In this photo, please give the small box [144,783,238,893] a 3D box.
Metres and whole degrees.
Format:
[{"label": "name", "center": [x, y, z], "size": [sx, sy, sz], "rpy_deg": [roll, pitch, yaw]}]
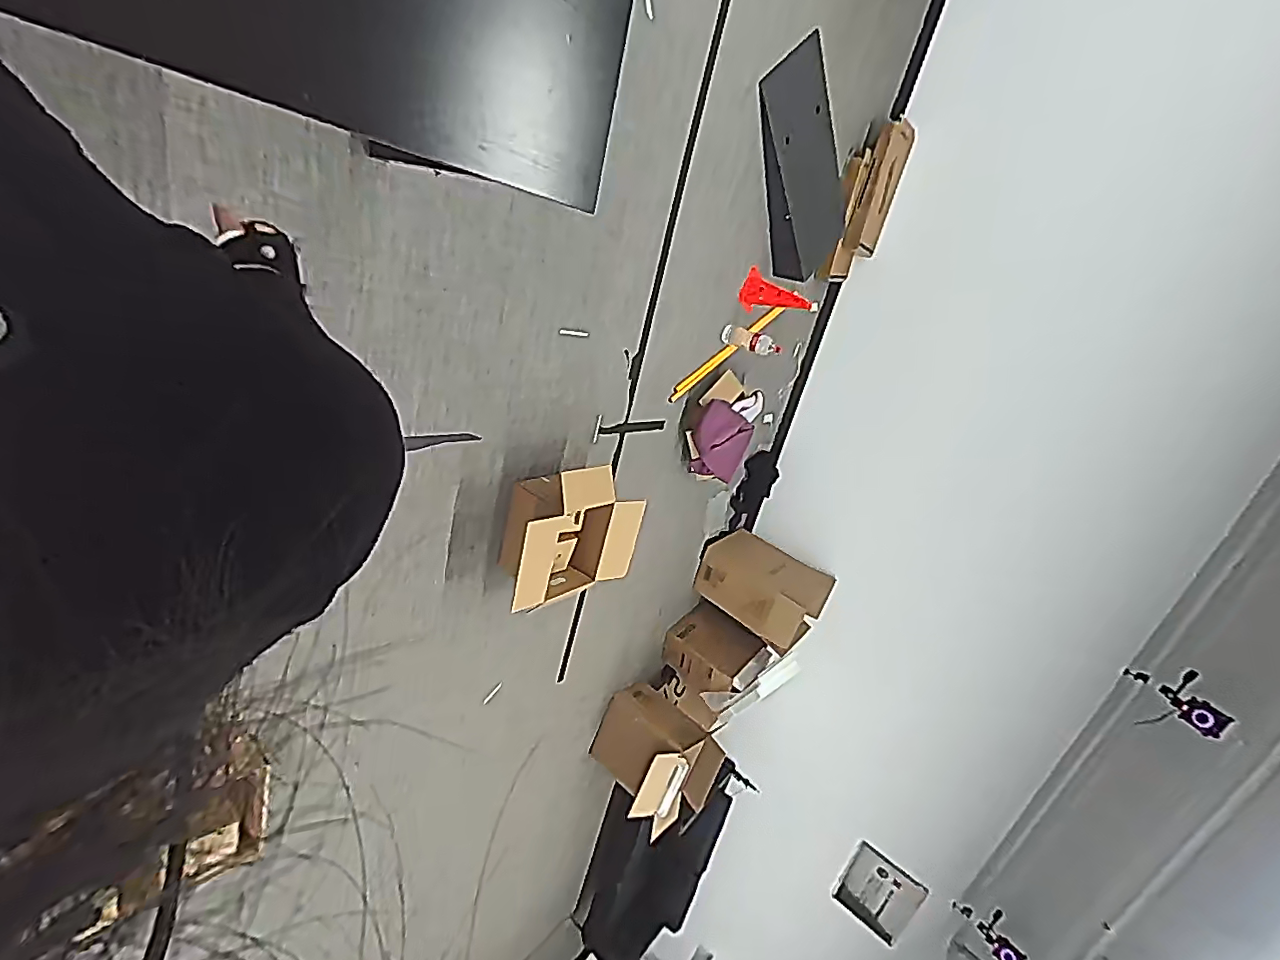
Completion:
[{"label": "small box", "center": [-1.322, 1.040, 1.591], "size": [0.179, 0.176, 0.168], "rpy_deg": [-6, 117, -52]}]
